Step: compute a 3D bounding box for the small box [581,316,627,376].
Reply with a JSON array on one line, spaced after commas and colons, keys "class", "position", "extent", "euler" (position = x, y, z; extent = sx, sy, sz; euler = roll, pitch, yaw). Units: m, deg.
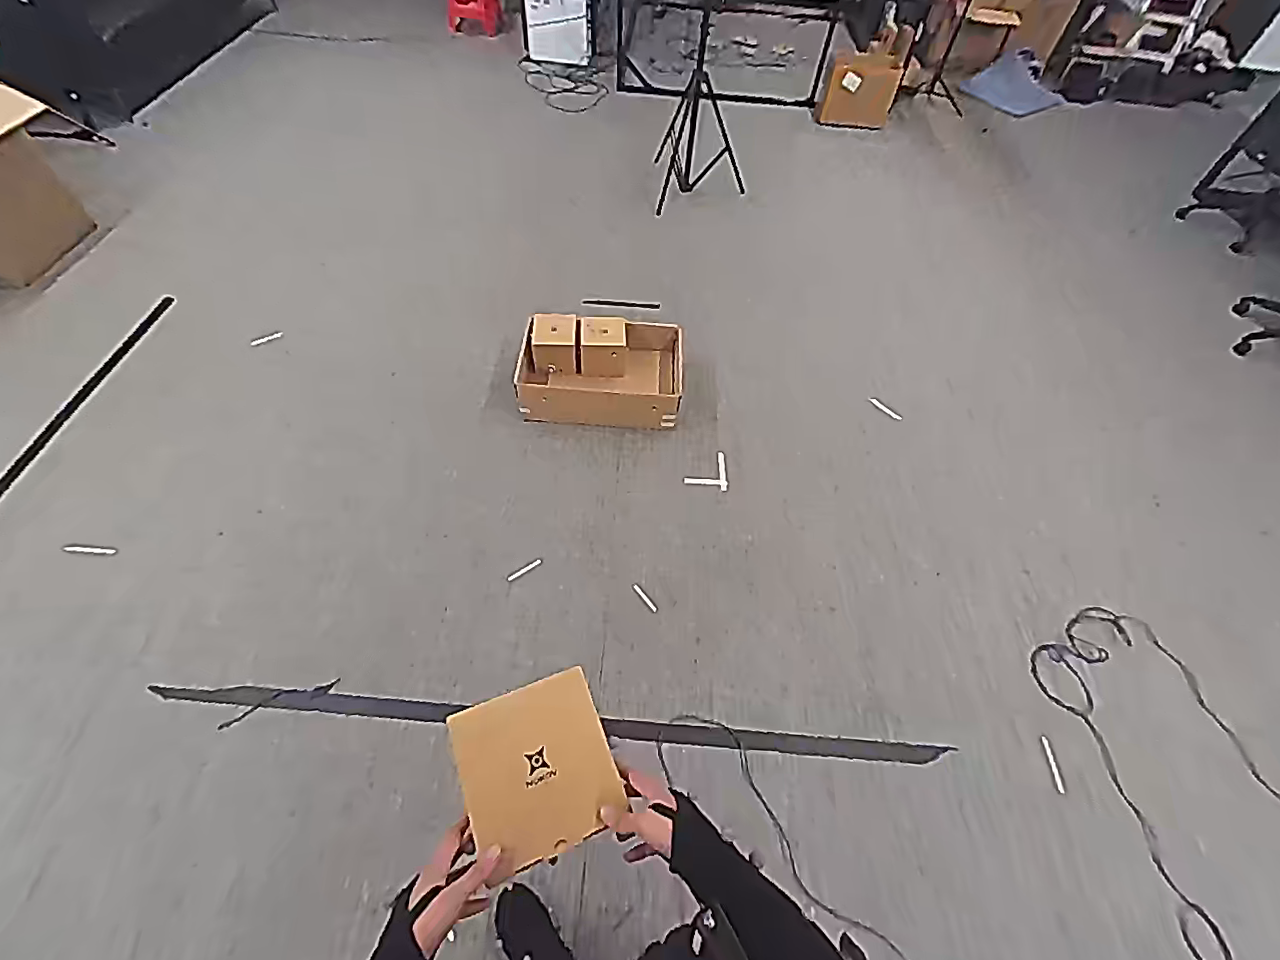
[{"class": "small box", "position": [-0.145, -0.531, 2.161], "extent": [0.179, 0.176, 0.168], "euler": [0, 56, -5]}]

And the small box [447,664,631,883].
[{"class": "small box", "position": [-0.127, 0.357, 0.668], "extent": [0.168, 0.176, 0.179], "euler": [-17, 63, -18]}]
